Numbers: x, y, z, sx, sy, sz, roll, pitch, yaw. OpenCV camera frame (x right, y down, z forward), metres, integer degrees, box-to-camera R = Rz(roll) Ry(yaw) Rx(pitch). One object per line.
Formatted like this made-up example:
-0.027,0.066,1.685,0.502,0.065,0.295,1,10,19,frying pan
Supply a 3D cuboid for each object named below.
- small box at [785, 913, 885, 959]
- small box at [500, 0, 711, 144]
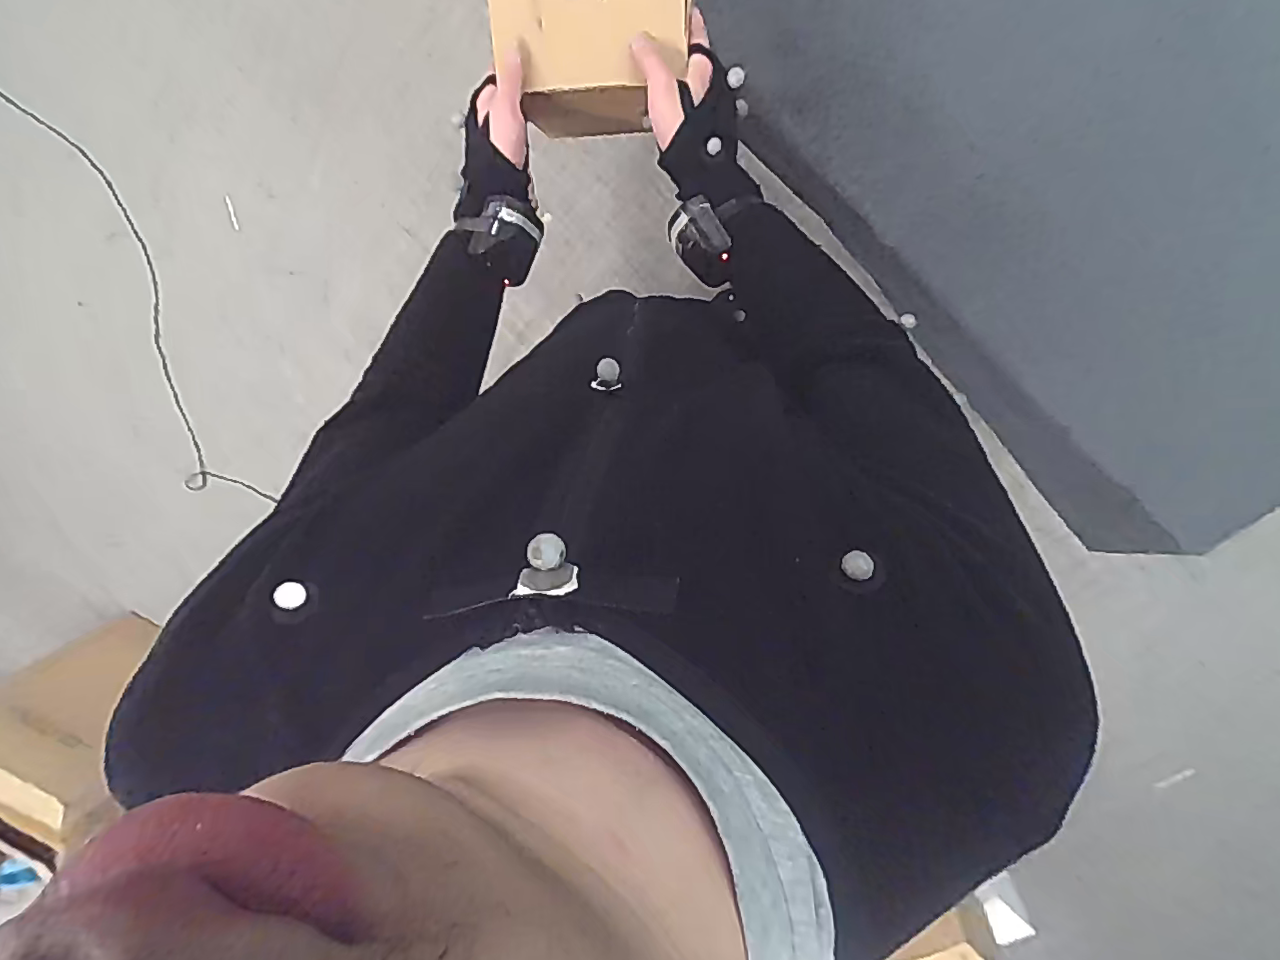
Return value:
0.433,1.093,1.168,0.168,0.176,0.179,43,109,-7,small box
-0.024,-0.440,0.514,0.179,0.176,0.168,-1,107,7,small box
